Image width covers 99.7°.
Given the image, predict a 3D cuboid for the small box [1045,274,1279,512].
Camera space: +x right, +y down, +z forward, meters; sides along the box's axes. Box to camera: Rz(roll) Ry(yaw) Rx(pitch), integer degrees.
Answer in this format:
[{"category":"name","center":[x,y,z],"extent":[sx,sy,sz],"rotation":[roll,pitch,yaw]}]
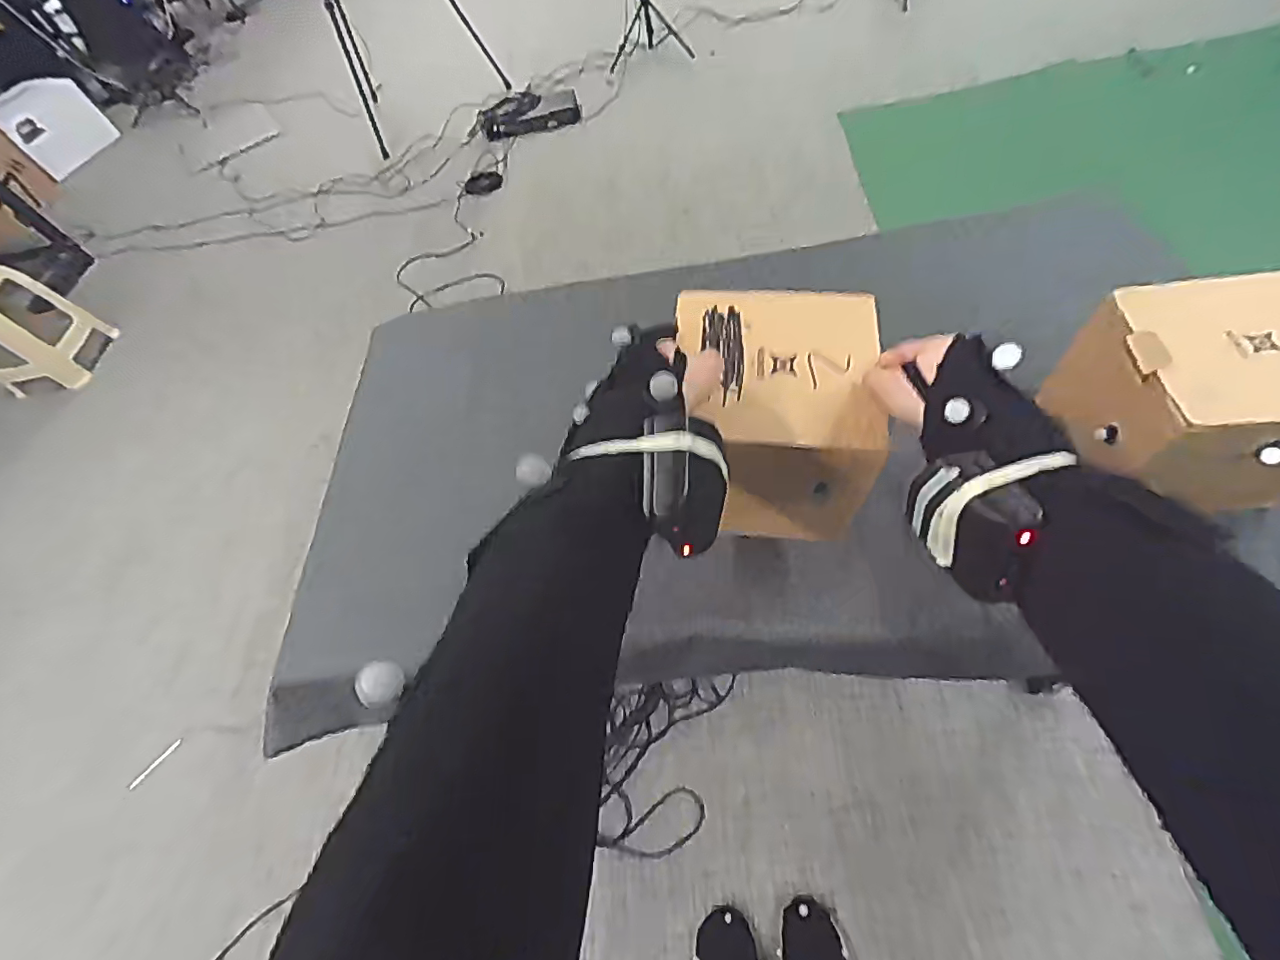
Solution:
[{"category":"small box","center":[0.545,-0.076,0.538],"extent":[0.179,0.176,0.168],"rotation":[-3,60,10]}]
